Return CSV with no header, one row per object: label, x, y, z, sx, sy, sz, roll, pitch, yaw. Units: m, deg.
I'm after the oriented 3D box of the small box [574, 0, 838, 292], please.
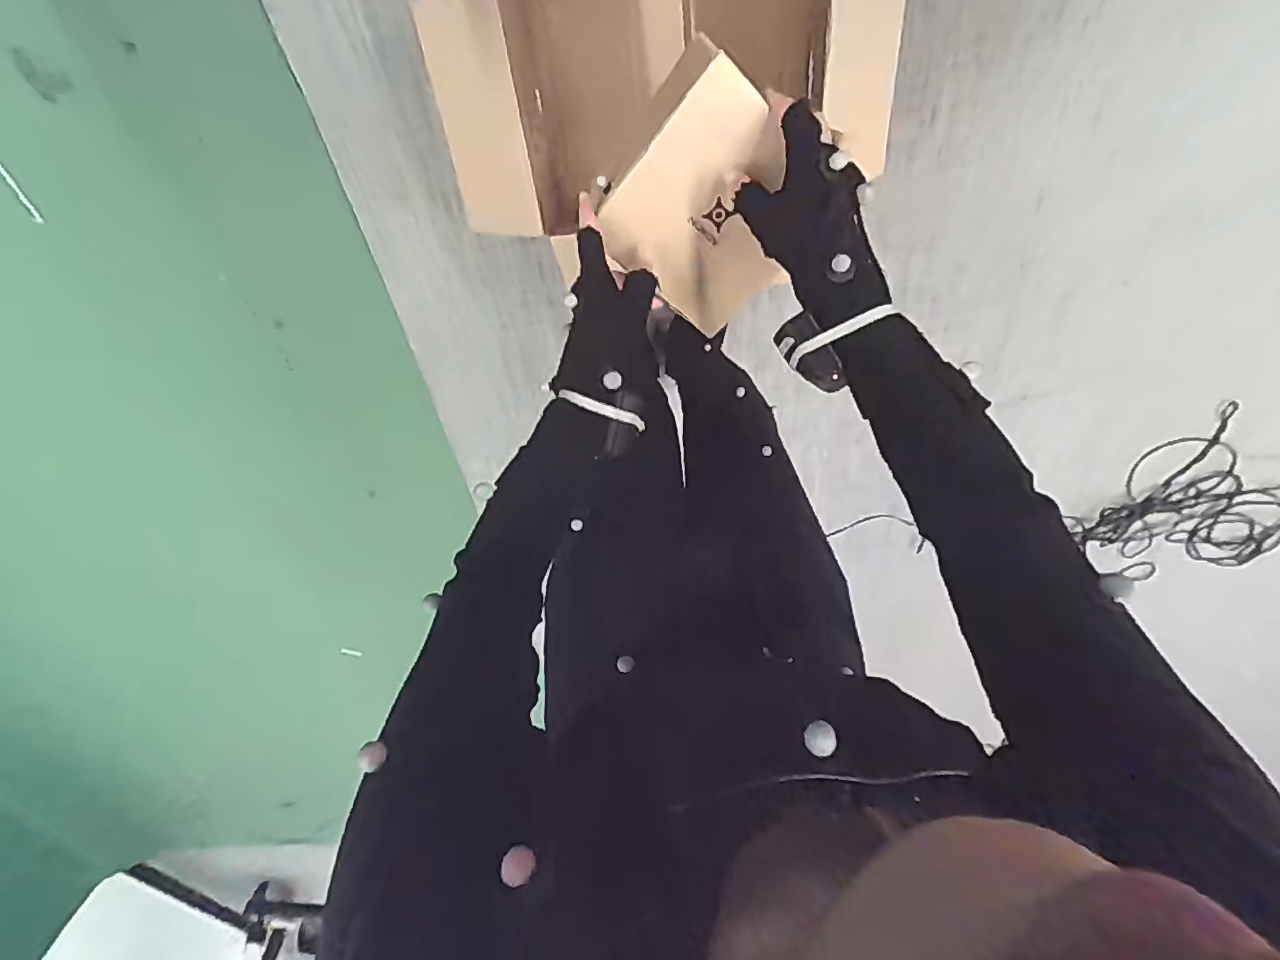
small box,0.054,-0.327,0.512,0.179,0.176,0.168,-29,134,28
